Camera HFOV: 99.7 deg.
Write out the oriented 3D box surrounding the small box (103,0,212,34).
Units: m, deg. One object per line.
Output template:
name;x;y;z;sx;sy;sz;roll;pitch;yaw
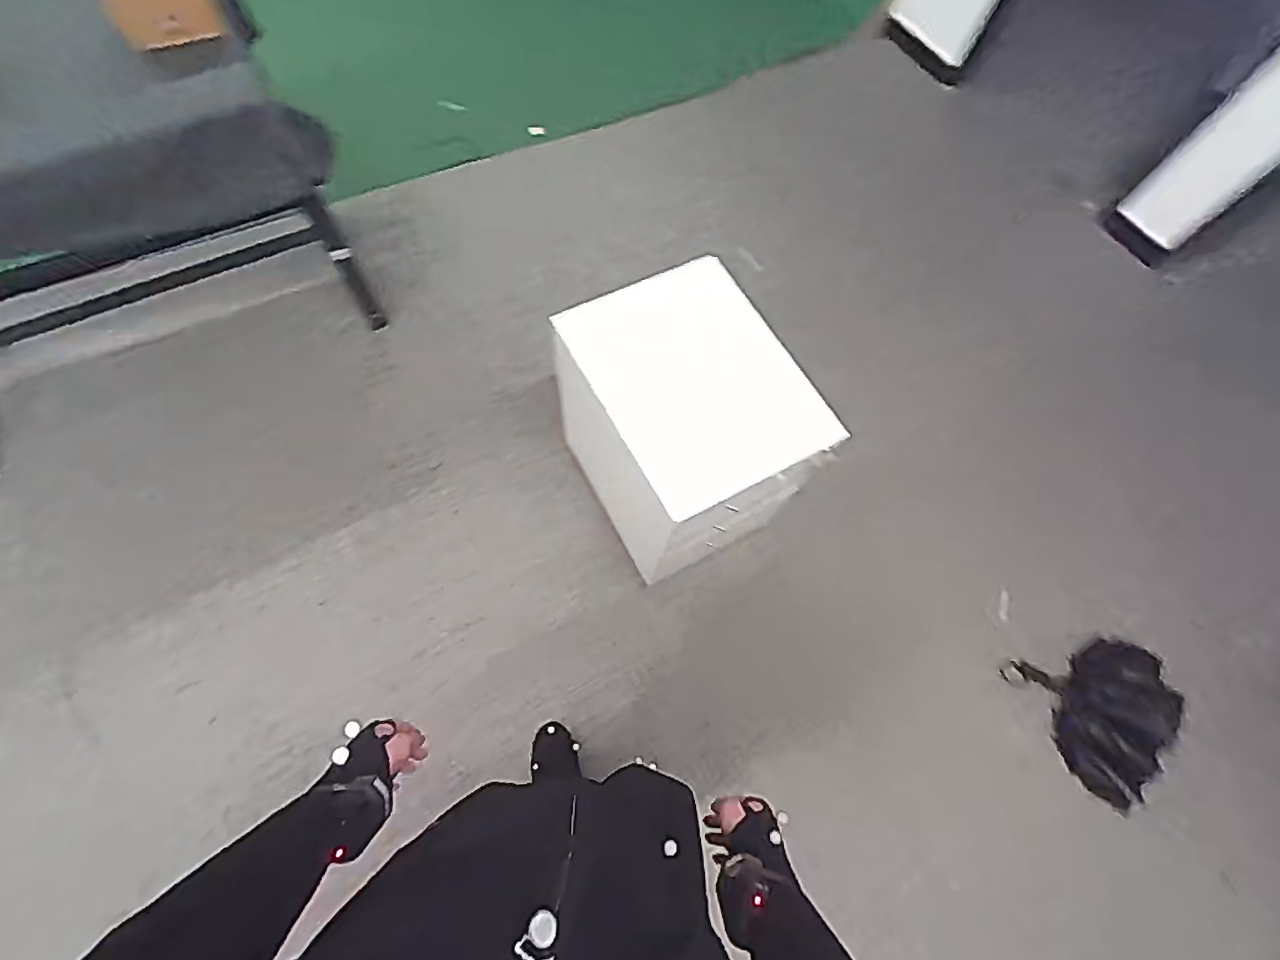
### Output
small box;-0.996;-1.035;1.076;0.179;0.176;0.168;-23;71;-17
